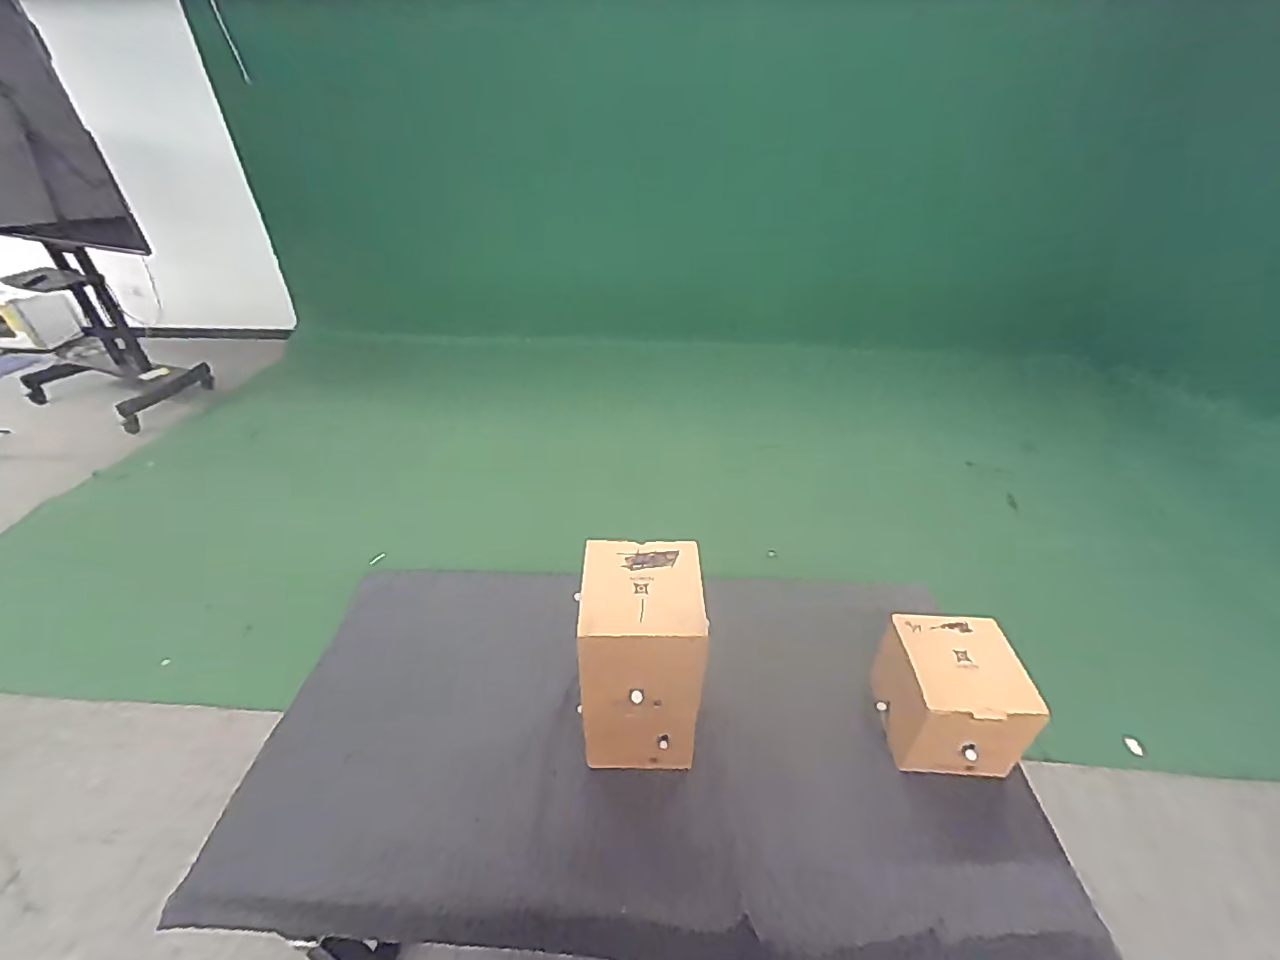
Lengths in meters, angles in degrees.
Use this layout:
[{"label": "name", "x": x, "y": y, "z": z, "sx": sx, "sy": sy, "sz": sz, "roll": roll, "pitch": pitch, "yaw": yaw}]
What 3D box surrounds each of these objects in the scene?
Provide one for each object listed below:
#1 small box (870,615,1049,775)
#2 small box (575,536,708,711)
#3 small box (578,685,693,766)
[{"label": "small box", "x": 0.483, "y": 0.337, "z": 0.851, "sx": 0.168, "sy": 0.176, "sz": 0.179, "roll": 2, "pitch": 36, "yaw": 4}, {"label": "small box", "x": 0.000, "y": 0.200, "z": 0.767, "sx": 0.168, "sy": 0.176, "sz": 0.179, "roll": 1, "pitch": 36, "yaw": -1}, {"label": "small box", "x": -0.003, "y": 0.332, "z": 0.864, "sx": 0.168, "sy": 0.176, "sz": 0.179, "roll": 1, "pitch": 34, "yaw": 0}]
